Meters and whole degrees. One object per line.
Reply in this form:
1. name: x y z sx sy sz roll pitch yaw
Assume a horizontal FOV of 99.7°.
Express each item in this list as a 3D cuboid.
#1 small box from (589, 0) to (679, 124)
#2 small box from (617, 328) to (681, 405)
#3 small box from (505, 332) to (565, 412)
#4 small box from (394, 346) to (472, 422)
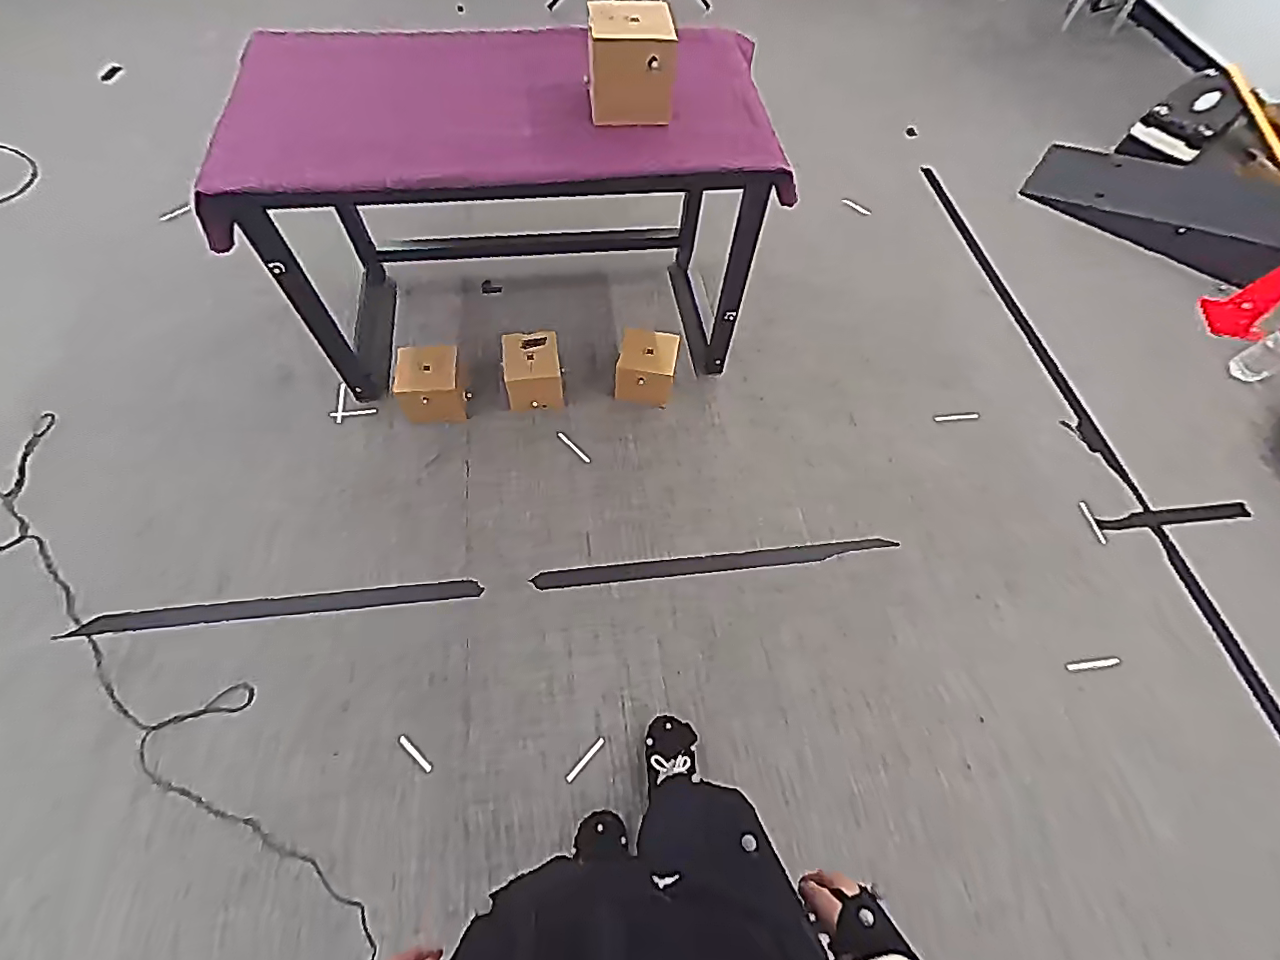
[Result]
1. small box: -0.019 -0.913 1.189 0.179 0.176 0.168 -4 62 -5
2. small box: 0.028 -0.357 1.724 0.179 0.176 0.168 9 63 3
3. small box: -0.328 -0.336 1.694 0.168 0.176 0.179 -7 64 -6
4. small box: -0.627 -0.289 1.655 0.179 0.176 0.168 -3 63 -6
